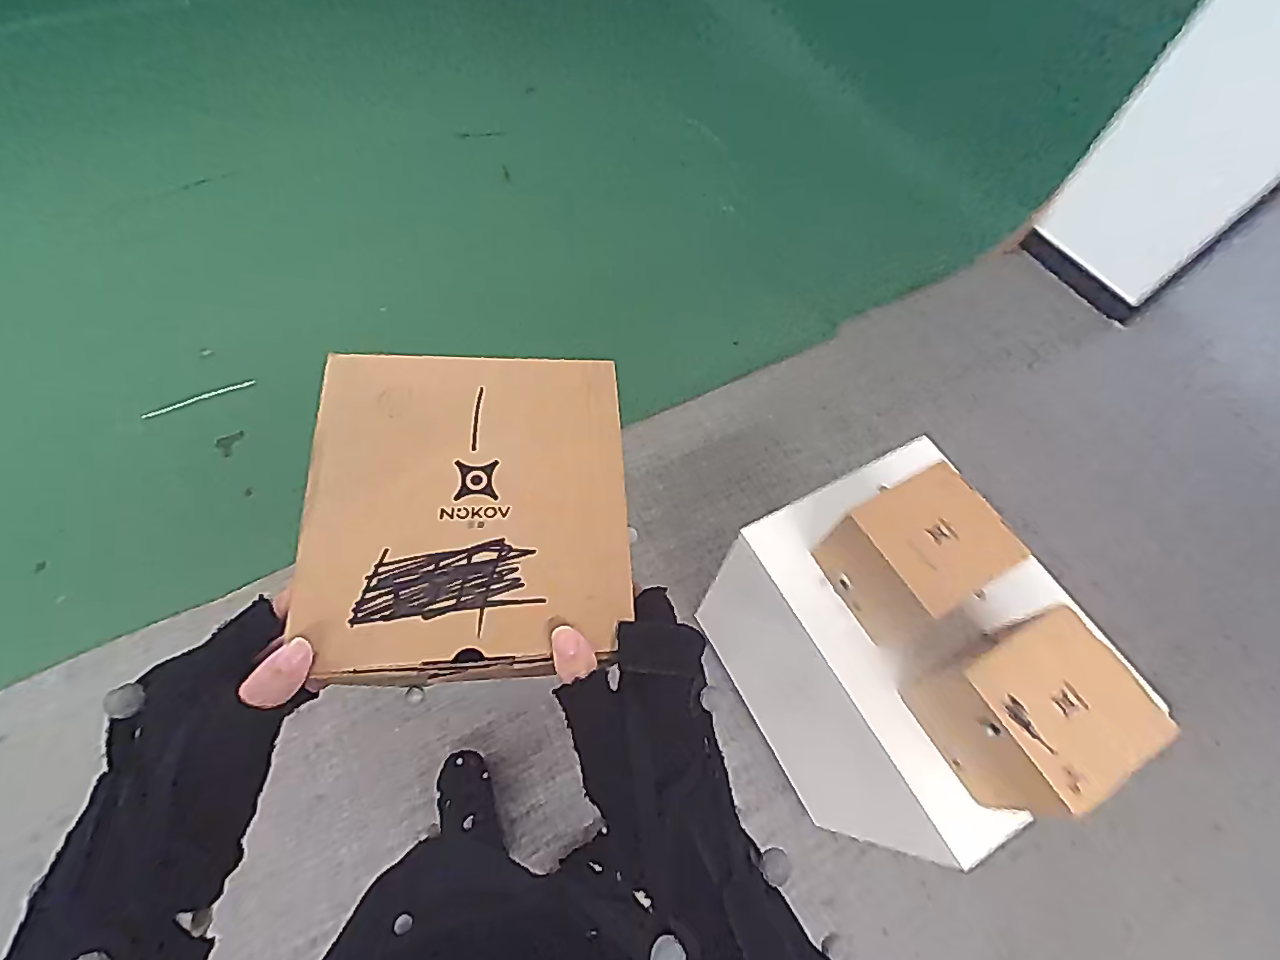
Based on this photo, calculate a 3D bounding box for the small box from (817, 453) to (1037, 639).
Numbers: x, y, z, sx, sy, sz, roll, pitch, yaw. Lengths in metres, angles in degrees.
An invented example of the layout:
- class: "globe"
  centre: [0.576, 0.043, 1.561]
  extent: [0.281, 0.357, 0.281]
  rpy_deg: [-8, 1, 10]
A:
- class: "small box"
  centre: [0.382, 0.097, 0.755]
  extent: [0.179, 0.176, 0.168]
  rpy_deg: [-27, 66, -14]

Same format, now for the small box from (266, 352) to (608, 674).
- class: "small box"
  centre: [-0.113, 0.035, 0.367]
  extent: [0.168, 0.176, 0.179]
  rpy_deg: [-1, 68, -10]

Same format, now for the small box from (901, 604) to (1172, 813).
- class: "small box"
  centre: [0.474, 0.282, 0.677]
  extent: [0.179, 0.176, 0.168]
  rpy_deg: [-24, 66, -15]
